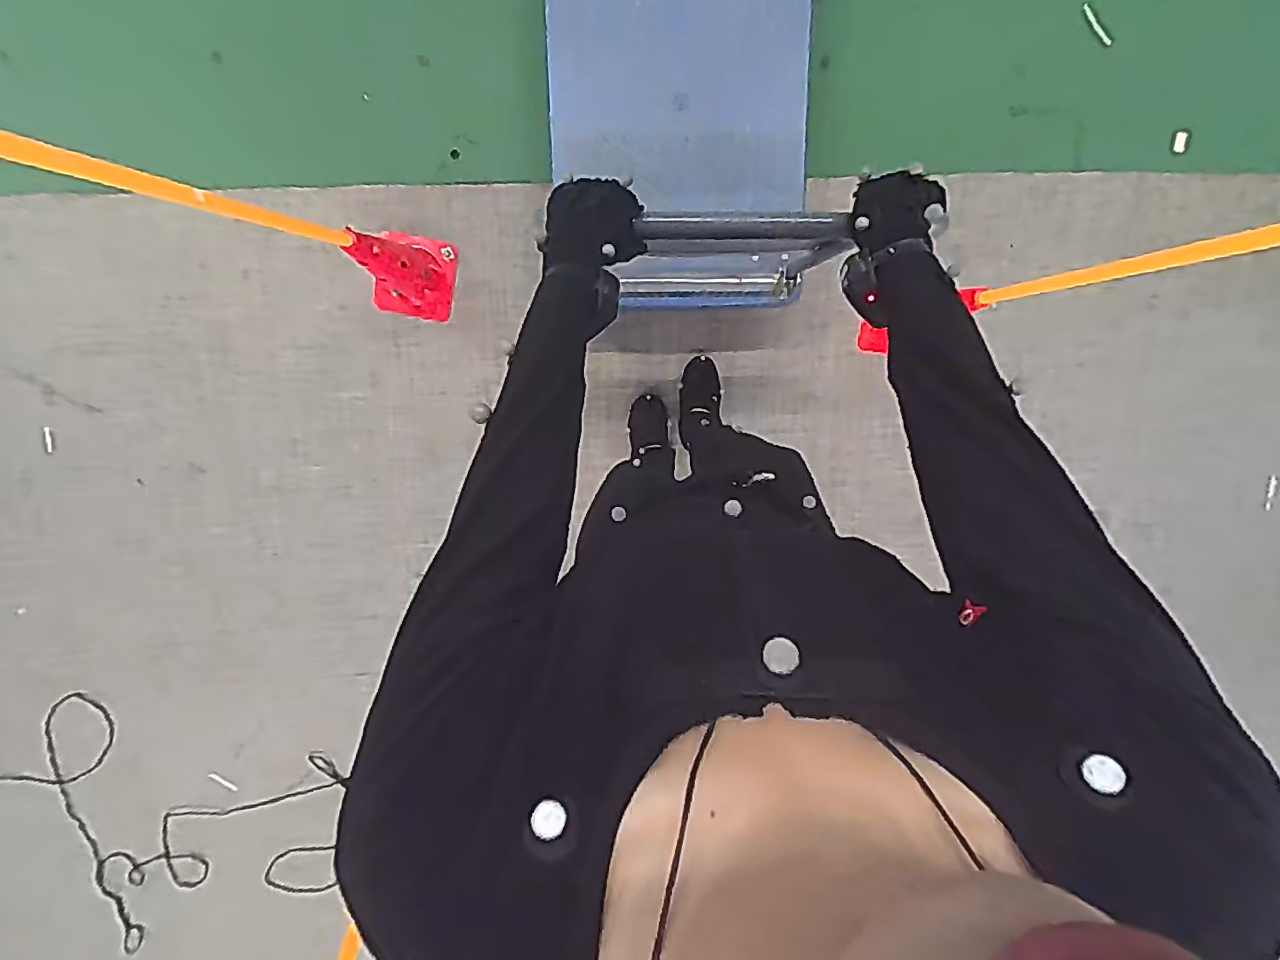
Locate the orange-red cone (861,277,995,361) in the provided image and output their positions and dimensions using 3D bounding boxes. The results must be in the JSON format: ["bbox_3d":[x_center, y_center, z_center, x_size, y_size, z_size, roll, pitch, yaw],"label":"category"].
[{"bbox_3d":[0.711,-0.403,1.286,0.198,0.360,0.199,9,100,-3],"label":"orange-red cone"}]
